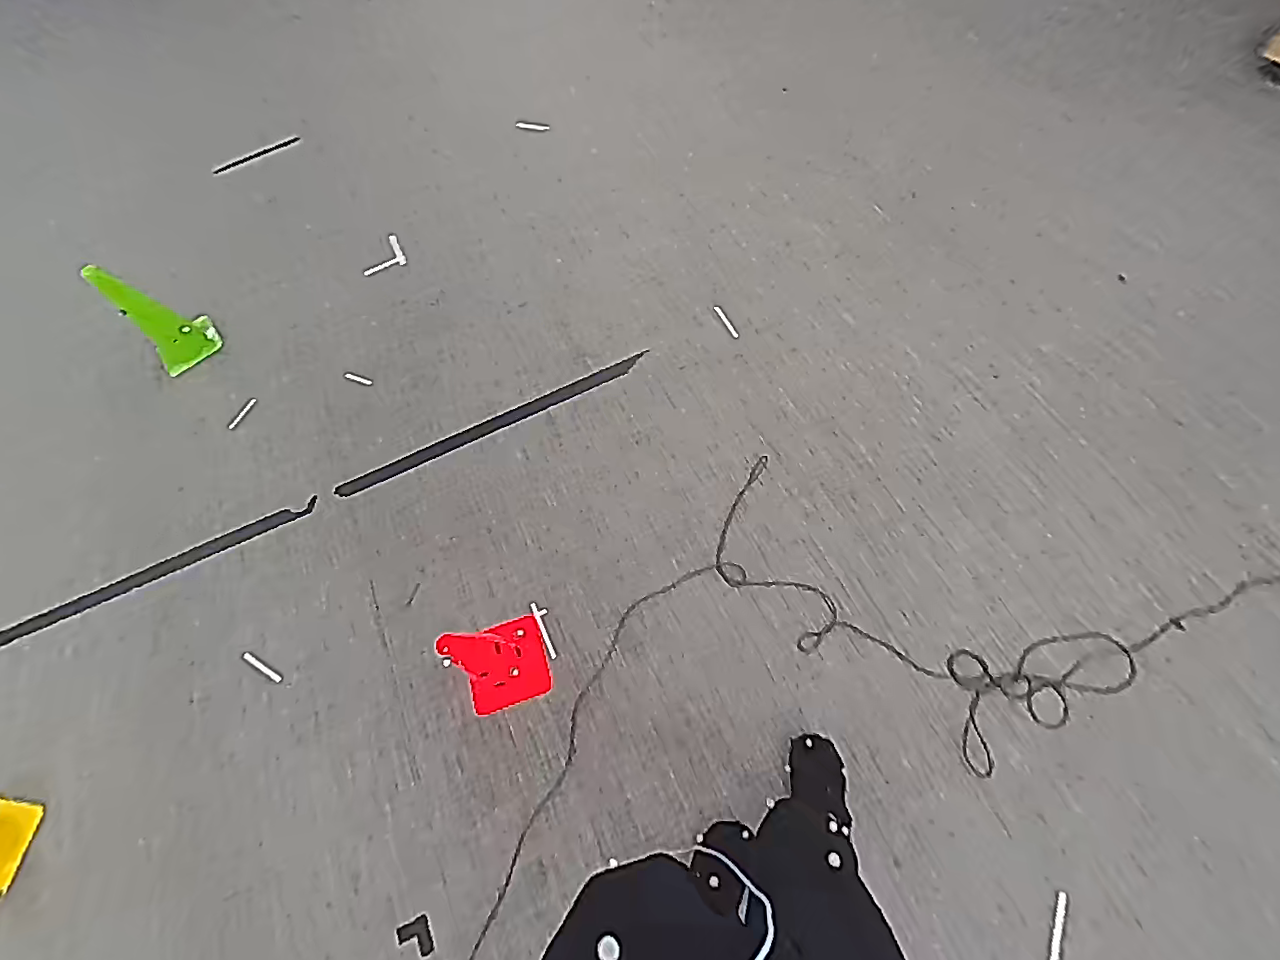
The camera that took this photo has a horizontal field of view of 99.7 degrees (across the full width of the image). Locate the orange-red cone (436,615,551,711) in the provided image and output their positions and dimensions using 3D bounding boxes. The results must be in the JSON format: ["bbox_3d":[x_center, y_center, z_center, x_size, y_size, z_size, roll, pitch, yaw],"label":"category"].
[{"bbox_3d":[-0.350,0.379,1.186,0.199,0.360,0.198,-19,64,0],"label":"orange-red cone"}]

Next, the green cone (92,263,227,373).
[{"bbox_3d":[-1.618,-0.560,1.787,0.202,0.368,0.200,-39,67,-12],"label":"green cone"}]
